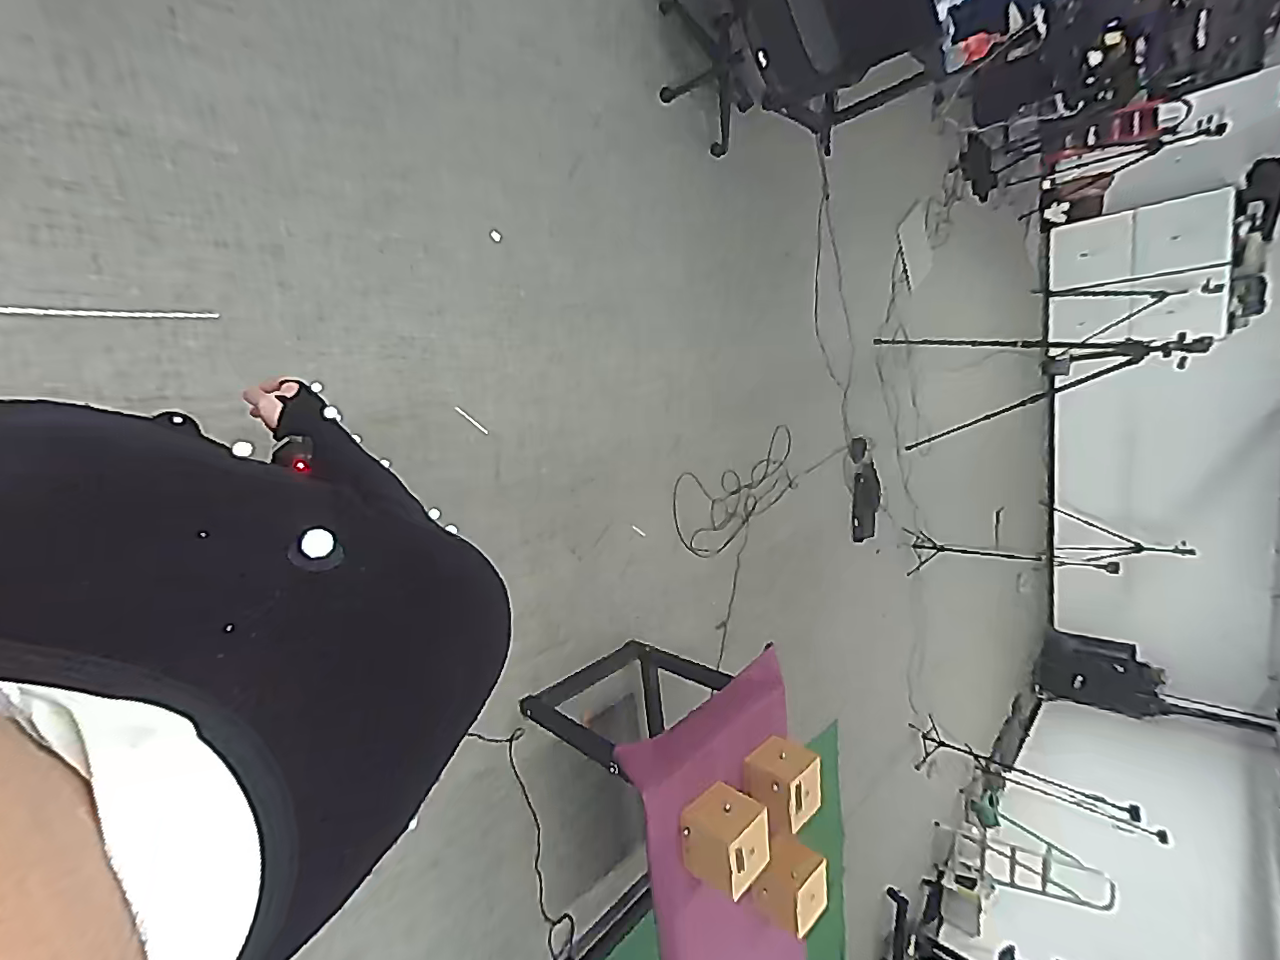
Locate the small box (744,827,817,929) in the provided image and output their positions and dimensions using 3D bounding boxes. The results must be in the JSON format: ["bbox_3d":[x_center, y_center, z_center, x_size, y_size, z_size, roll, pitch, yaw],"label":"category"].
[{"bbox_3d":[0.454,1.273,1.748,0.179,0.176,0.168,-10,100,-43],"label":"small box"}]

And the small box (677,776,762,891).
[{"bbox_3d":[0.215,0.961,1.488,0.179,0.176,0.168,-13,101,-45],"label":"small box"}]
